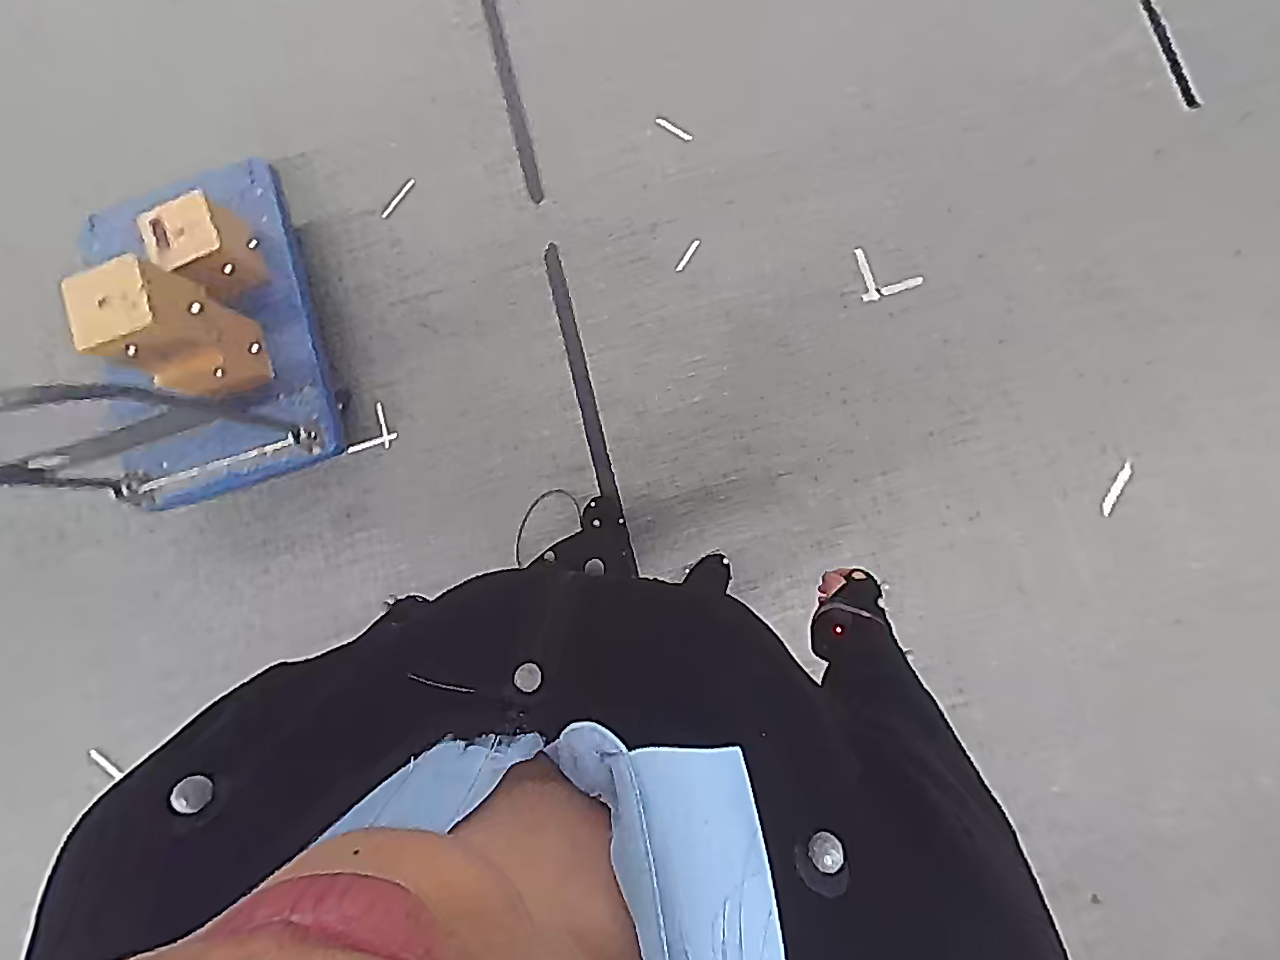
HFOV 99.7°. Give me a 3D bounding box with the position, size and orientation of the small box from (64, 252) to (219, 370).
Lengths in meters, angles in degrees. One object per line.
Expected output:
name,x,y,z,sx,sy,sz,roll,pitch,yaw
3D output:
small box,-1.094,-0.363,1.197,0.179,0.176,0.168,-19,84,1

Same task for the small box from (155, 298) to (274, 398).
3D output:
small box,-1.075,-0.323,1.358,0.179,0.176,0.168,-20,83,2
